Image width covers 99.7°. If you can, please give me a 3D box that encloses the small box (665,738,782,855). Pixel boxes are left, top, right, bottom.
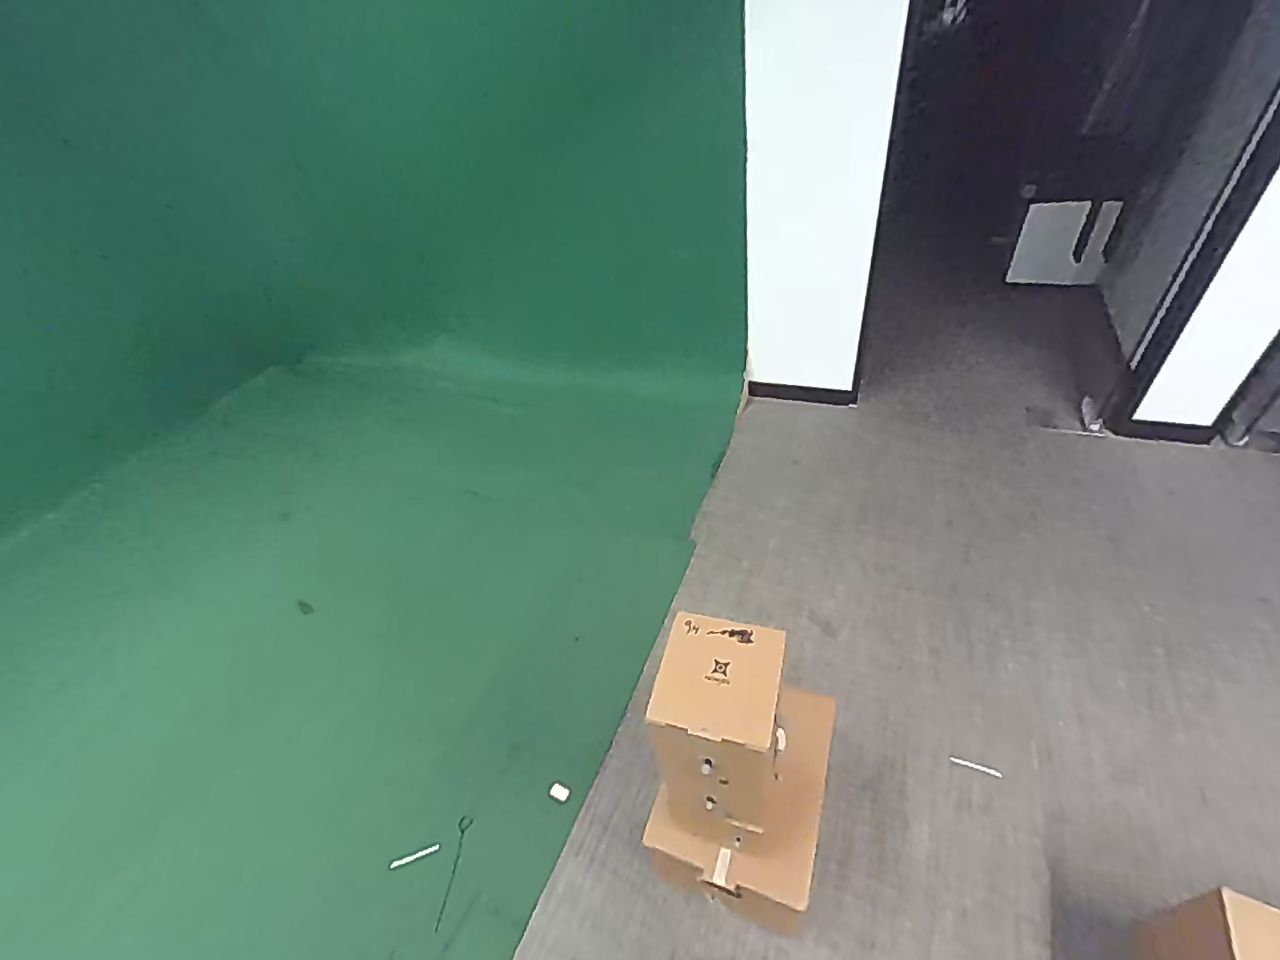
[{"bbox_3d":[0.163,0.572,1.016,0.179,0.176,0.168,8,45,21],"label":"small box"}]

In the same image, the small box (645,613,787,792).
[{"bbox_3d":[0.121,0.329,0.799,0.168,0.176,0.179,7,45,19],"label":"small box"}]

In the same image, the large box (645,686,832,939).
[{"bbox_3d":[0.238,0.706,1.218,0.320,0.320,0.408,10,45,21],"label":"large box"}]

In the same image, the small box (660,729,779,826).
[{"bbox_3d":[0.143,0.448,0.910,0.168,0.176,0.179,6,44,17],"label":"small box"}]
